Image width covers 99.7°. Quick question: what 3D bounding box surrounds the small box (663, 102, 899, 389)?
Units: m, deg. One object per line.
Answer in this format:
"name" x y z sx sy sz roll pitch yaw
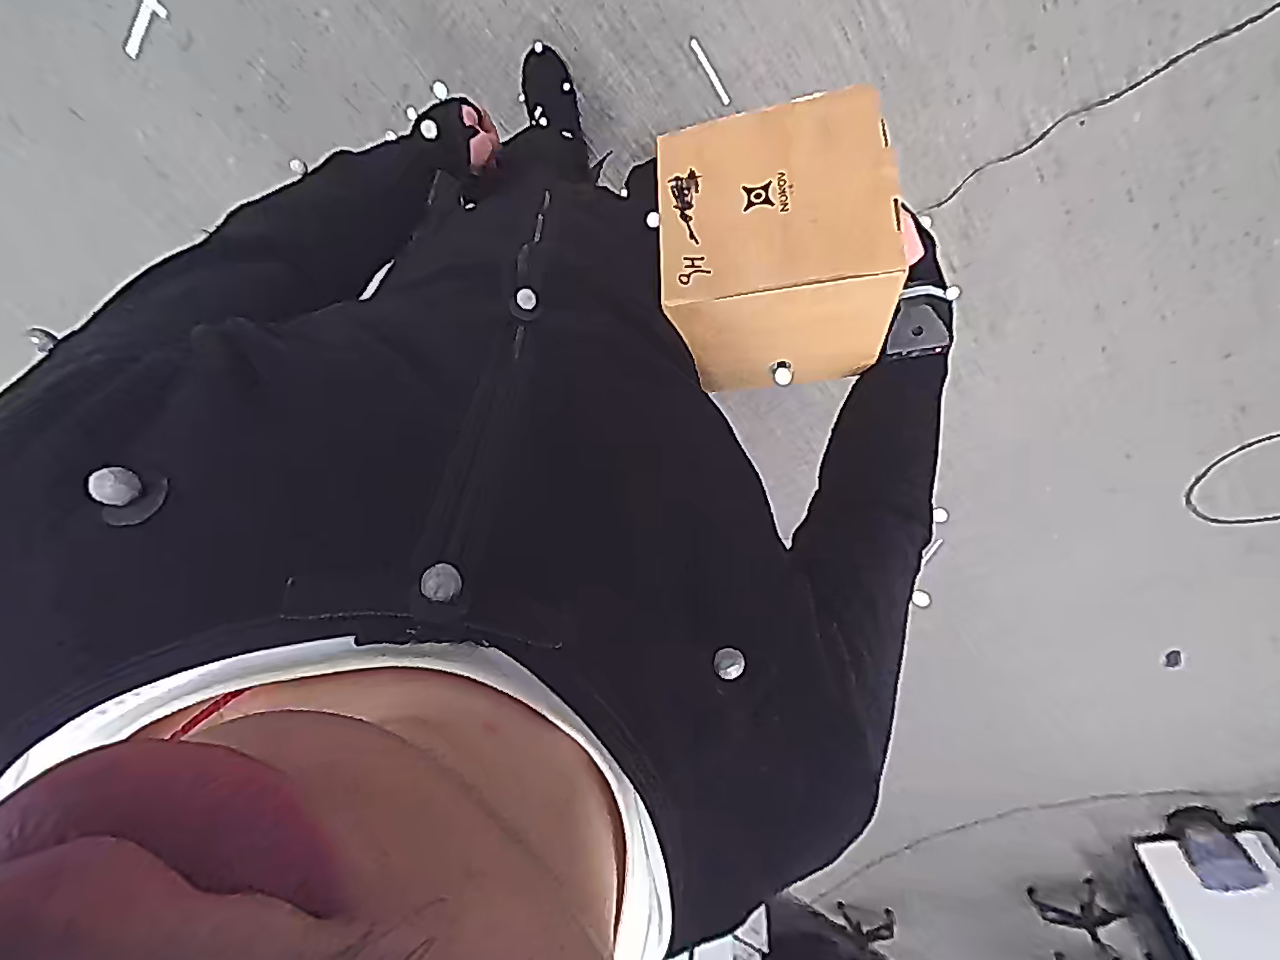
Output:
"small box" 0.123 -0.199 0.507 0.179 0.168 0.176 -5 164 14
